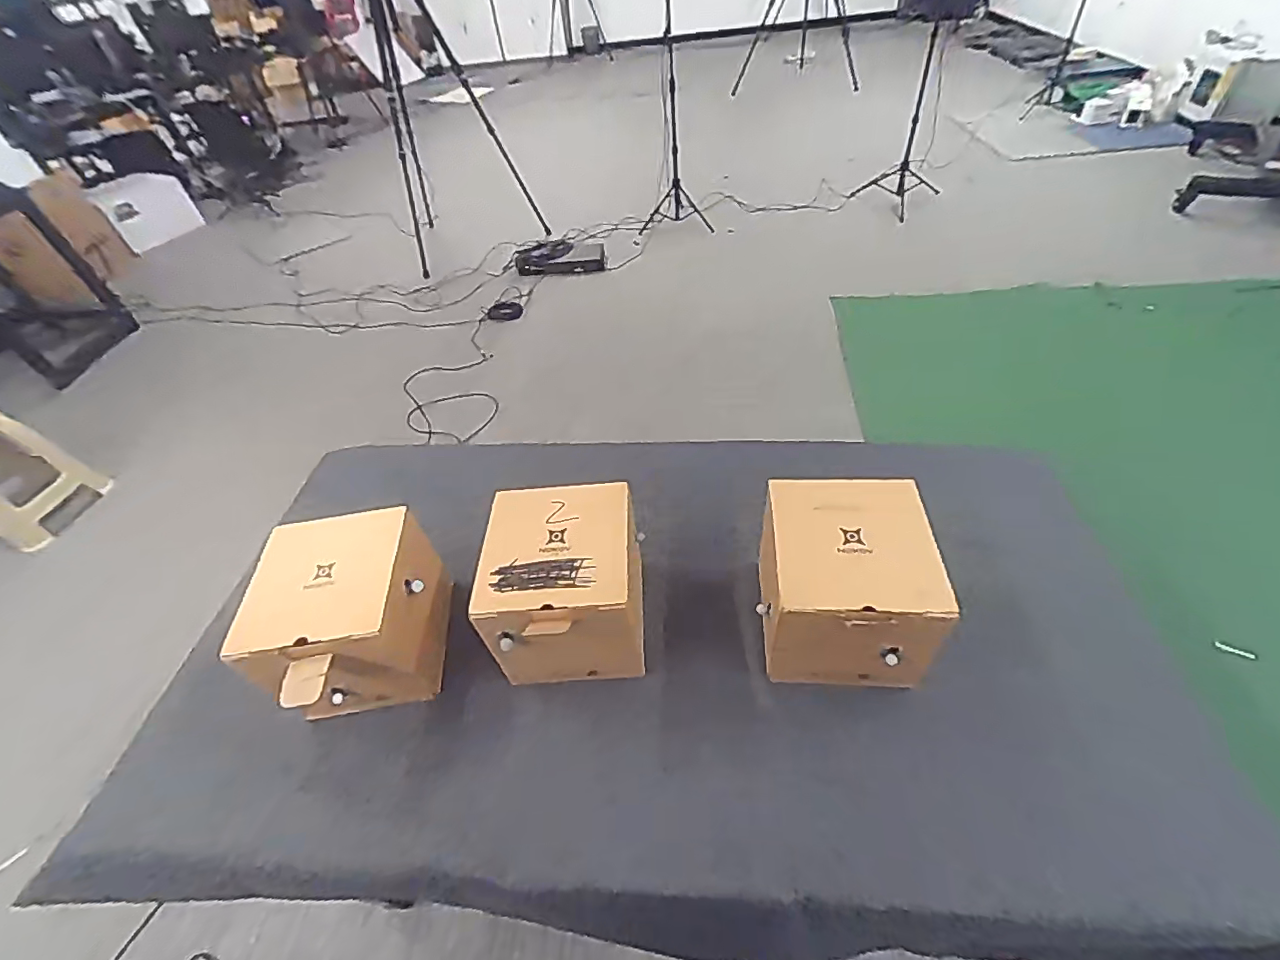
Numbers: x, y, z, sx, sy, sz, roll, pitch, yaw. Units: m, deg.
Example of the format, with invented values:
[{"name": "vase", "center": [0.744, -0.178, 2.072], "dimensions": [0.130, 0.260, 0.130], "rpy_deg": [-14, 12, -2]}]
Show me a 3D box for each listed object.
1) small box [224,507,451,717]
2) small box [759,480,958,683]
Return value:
[{"name": "small box", "center": [-0.343, 0.161, 0.660], "dimensions": [0.168, 0.176, 0.179], "rpy_deg": [-9, 47, -2]}, {"name": "small box", "center": [0.232, 0.119, 0.627], "dimensions": [0.168, 0.176, 0.179], "rpy_deg": [0, 46, 6]}]
